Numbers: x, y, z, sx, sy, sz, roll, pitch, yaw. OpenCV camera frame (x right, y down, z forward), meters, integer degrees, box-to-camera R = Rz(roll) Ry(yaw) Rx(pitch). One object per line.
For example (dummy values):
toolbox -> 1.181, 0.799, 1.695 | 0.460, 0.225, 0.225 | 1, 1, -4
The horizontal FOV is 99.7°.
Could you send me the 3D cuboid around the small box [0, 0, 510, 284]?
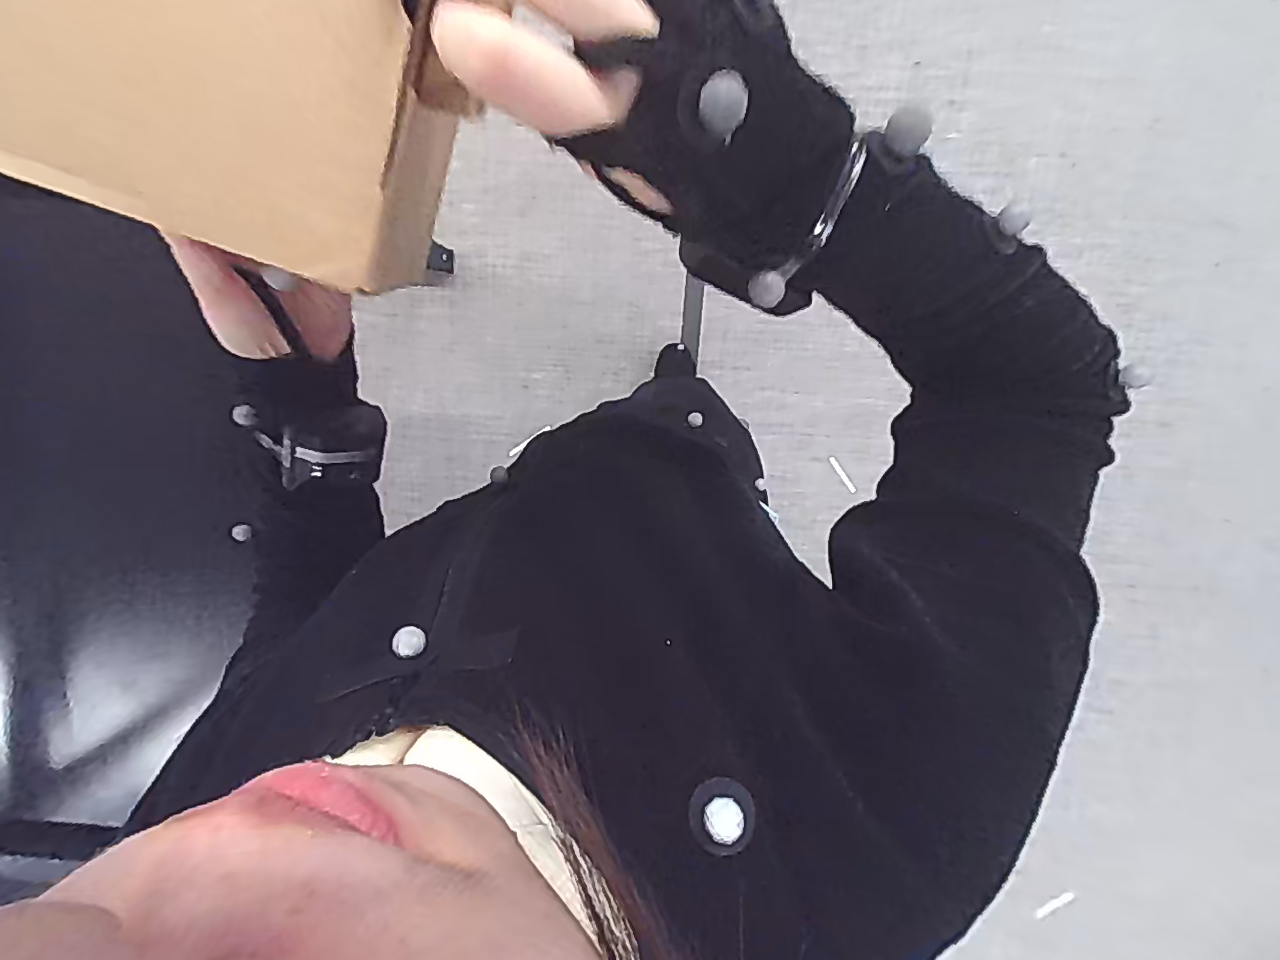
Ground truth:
small box -> -0.144, -0.184, 0.188 | 0.179, 0.176, 0.168 | 16, 105, -21
